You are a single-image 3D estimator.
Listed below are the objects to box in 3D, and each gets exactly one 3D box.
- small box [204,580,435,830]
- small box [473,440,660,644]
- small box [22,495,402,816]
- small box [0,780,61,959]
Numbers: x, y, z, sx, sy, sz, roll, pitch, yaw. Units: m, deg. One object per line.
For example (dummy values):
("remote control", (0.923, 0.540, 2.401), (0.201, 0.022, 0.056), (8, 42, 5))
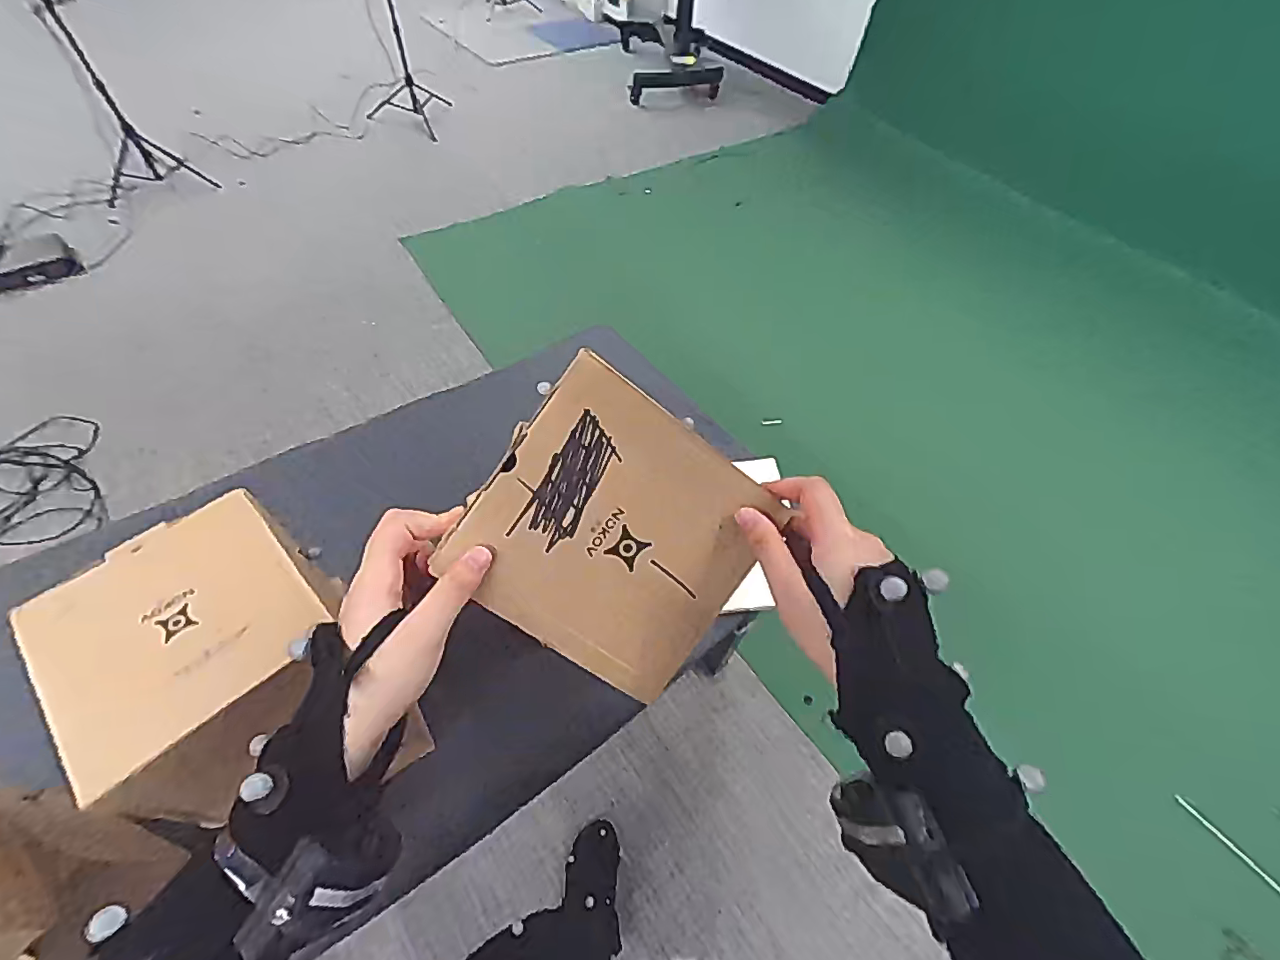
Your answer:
("small box", (-0.350, 0.249, 0.592), (0.168, 0.176, 0.179), (-28, 60, -21))
("small box", (-0.096, 0.085, 0.726), (0.179, 0.176, 0.168), (-32, 61, -23))
("small box", (-0.339, 0.153, 0.461), (0.168, 0.176, 0.179), (-38, 65, -26))
("small box", (-0.553, 0.302, 0.338), (0.168, 0.176, 0.179), (34, 60, 19))
